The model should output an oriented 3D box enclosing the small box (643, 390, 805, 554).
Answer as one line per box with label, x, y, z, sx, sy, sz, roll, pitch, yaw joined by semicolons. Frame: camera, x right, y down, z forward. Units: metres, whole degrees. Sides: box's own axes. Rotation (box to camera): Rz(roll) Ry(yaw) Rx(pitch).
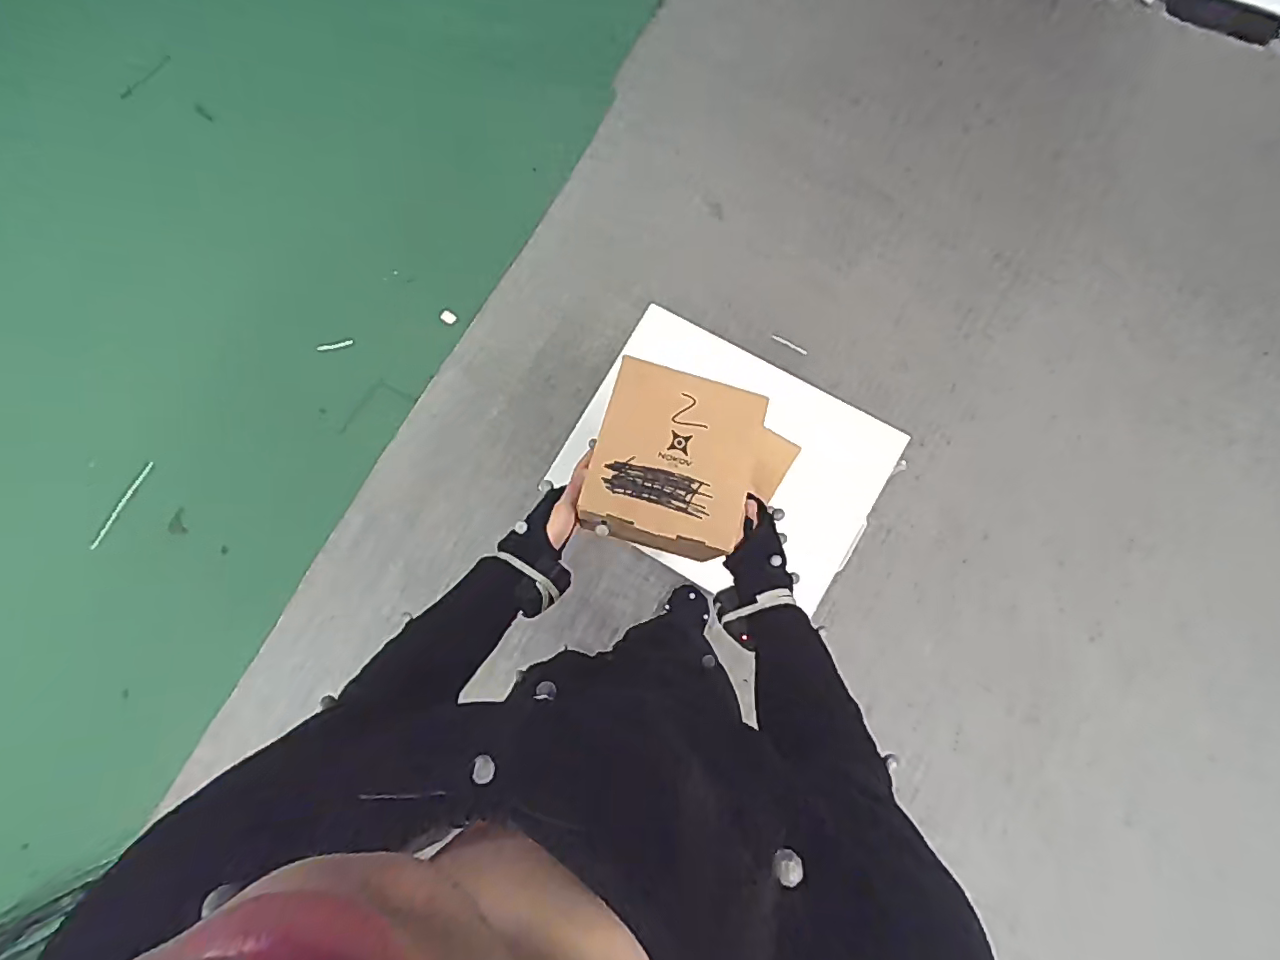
small box;0.120;-0.003;0.825;0.168;0.176;0.179;31;84;9
